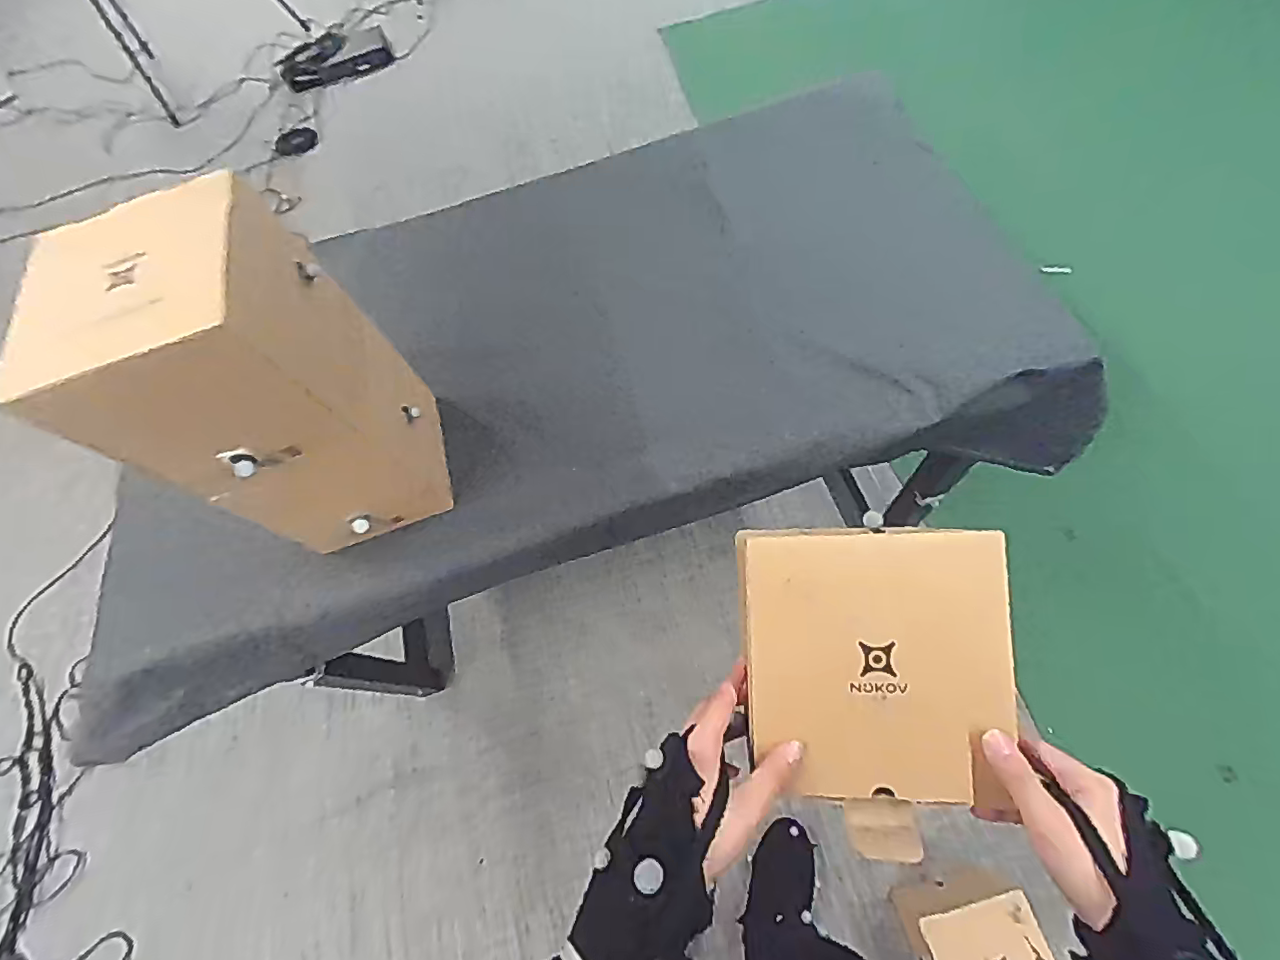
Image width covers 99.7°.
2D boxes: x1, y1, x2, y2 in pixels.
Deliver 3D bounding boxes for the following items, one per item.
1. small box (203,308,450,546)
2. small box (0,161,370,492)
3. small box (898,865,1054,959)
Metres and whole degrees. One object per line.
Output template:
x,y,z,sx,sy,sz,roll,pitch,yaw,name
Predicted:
-0.333,-0.050,0.601,0.168,0.176,0.179,-19,65,0,small box
-0.355,-0.117,0.455,0.168,0.176,0.179,-20,65,0,small box
0.554,0.773,0.898,0.179,0.176,0.168,-17,64,2,small box
